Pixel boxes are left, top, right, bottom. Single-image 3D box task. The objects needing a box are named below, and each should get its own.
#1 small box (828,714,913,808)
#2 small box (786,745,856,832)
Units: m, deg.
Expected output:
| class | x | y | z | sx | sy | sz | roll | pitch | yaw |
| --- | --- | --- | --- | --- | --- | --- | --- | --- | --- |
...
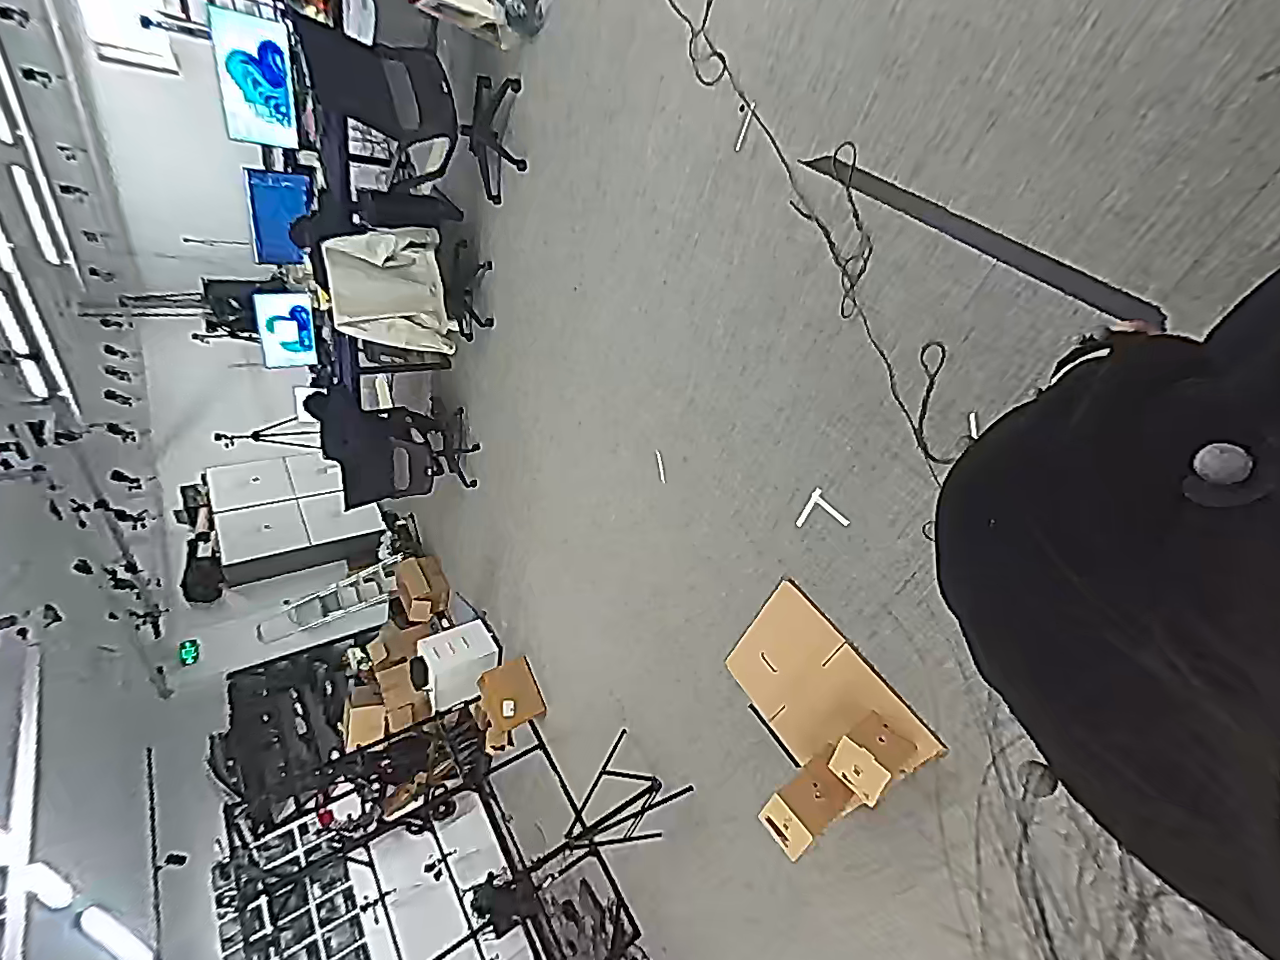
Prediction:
| class | x | y | z | sx | sy | sz | roll | pitch | yaw |
| --- | --- | --- | --- | --- | --- | --- | --- | --- | --- |
| small box | 0.740 | 0.891 | 1.731 | 0.168 | 0.176 | 0.179 | 37 | 128 | 41 |
| small box | 0.655 | 1.087 | 1.913 | 0.168 | 0.176 | 0.179 | 41 | 131 | 38 |
